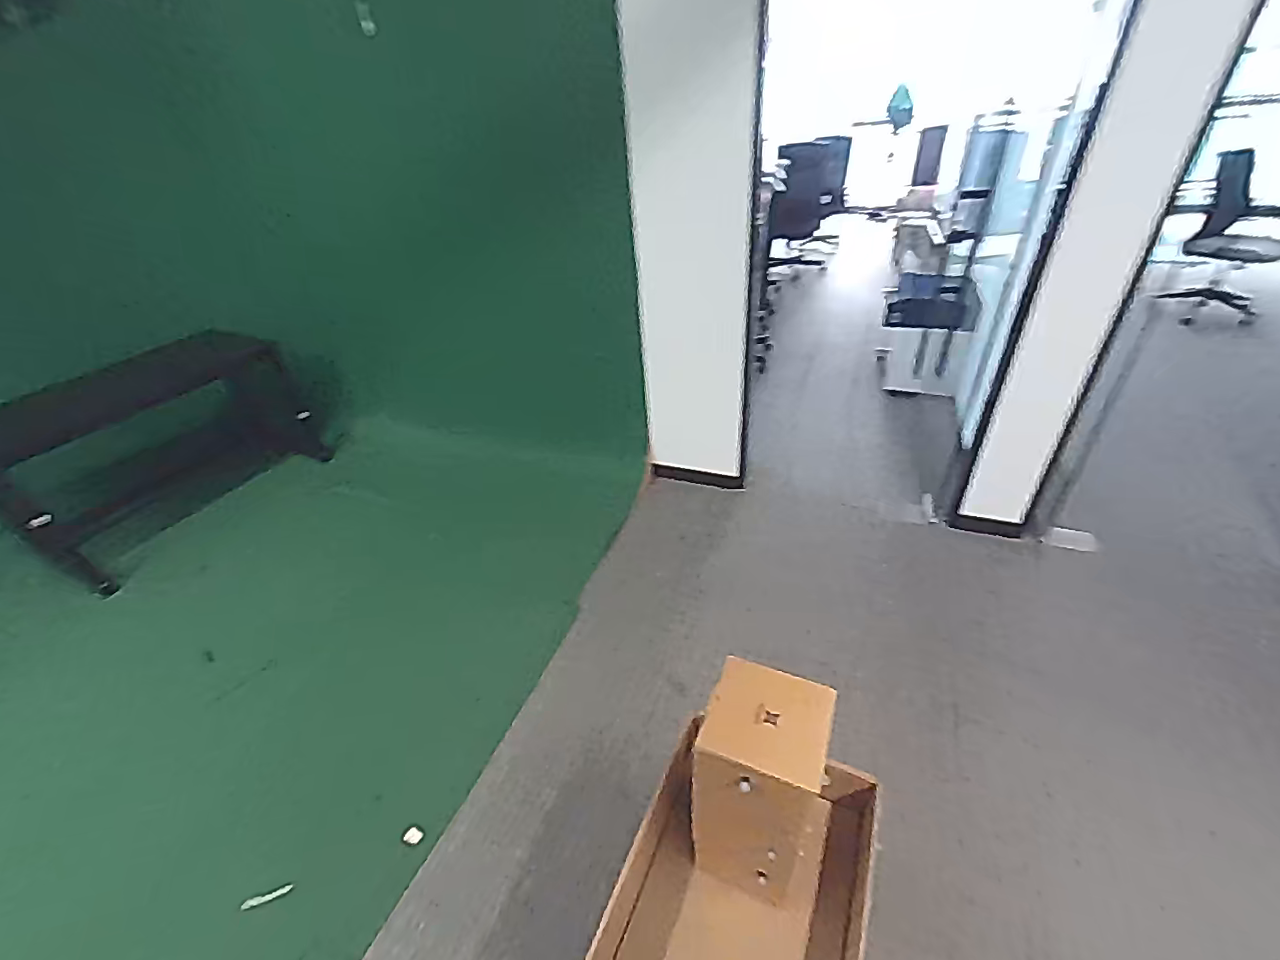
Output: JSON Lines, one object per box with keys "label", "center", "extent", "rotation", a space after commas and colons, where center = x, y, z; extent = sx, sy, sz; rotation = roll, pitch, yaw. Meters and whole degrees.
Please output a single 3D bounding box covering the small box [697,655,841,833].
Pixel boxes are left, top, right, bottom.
{"label": "small box", "center": [0.197, 0.411, 0.841], "extent": [0.179, 0.176, 0.168], "rotation": [13, 40, 21]}
